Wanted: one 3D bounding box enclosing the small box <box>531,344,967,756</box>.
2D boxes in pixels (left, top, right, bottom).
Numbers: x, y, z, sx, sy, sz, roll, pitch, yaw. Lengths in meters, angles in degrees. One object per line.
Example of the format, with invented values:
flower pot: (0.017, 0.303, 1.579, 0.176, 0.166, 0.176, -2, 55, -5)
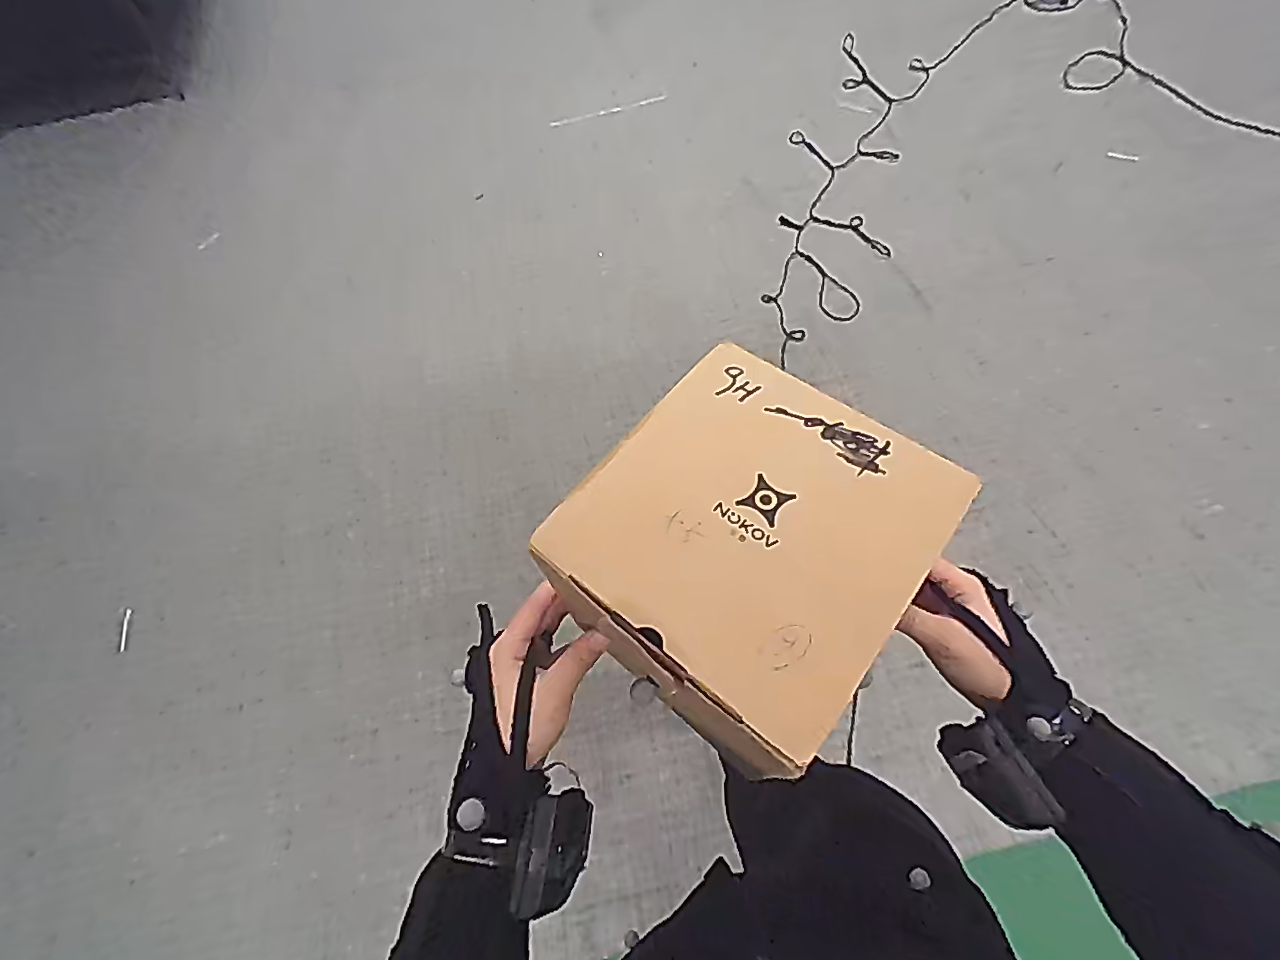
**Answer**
small box: (0.063, 0.054, 0.354, 0.168, 0.176, 0.179, 36, 70, 21)
